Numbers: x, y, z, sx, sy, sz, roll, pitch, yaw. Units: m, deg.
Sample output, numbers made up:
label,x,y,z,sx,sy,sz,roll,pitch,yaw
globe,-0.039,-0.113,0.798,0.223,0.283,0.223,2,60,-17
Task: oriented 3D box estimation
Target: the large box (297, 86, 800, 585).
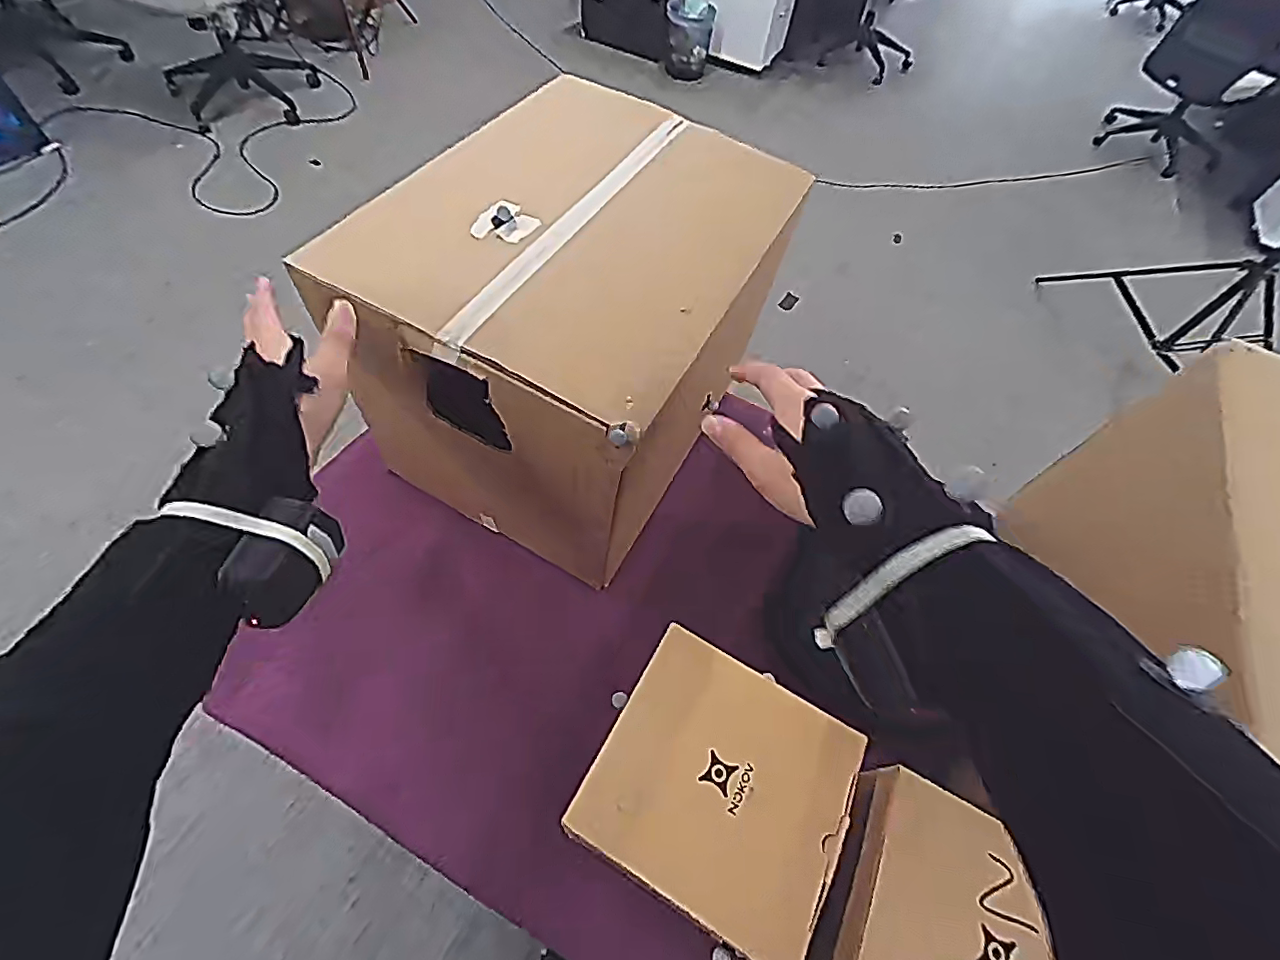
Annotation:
label,x,y,z,sx,sy,sz,roll,pitch,yaw
large box,-0.066,-0.158,0.625,0.320,0.320,0.408,27,61,9
